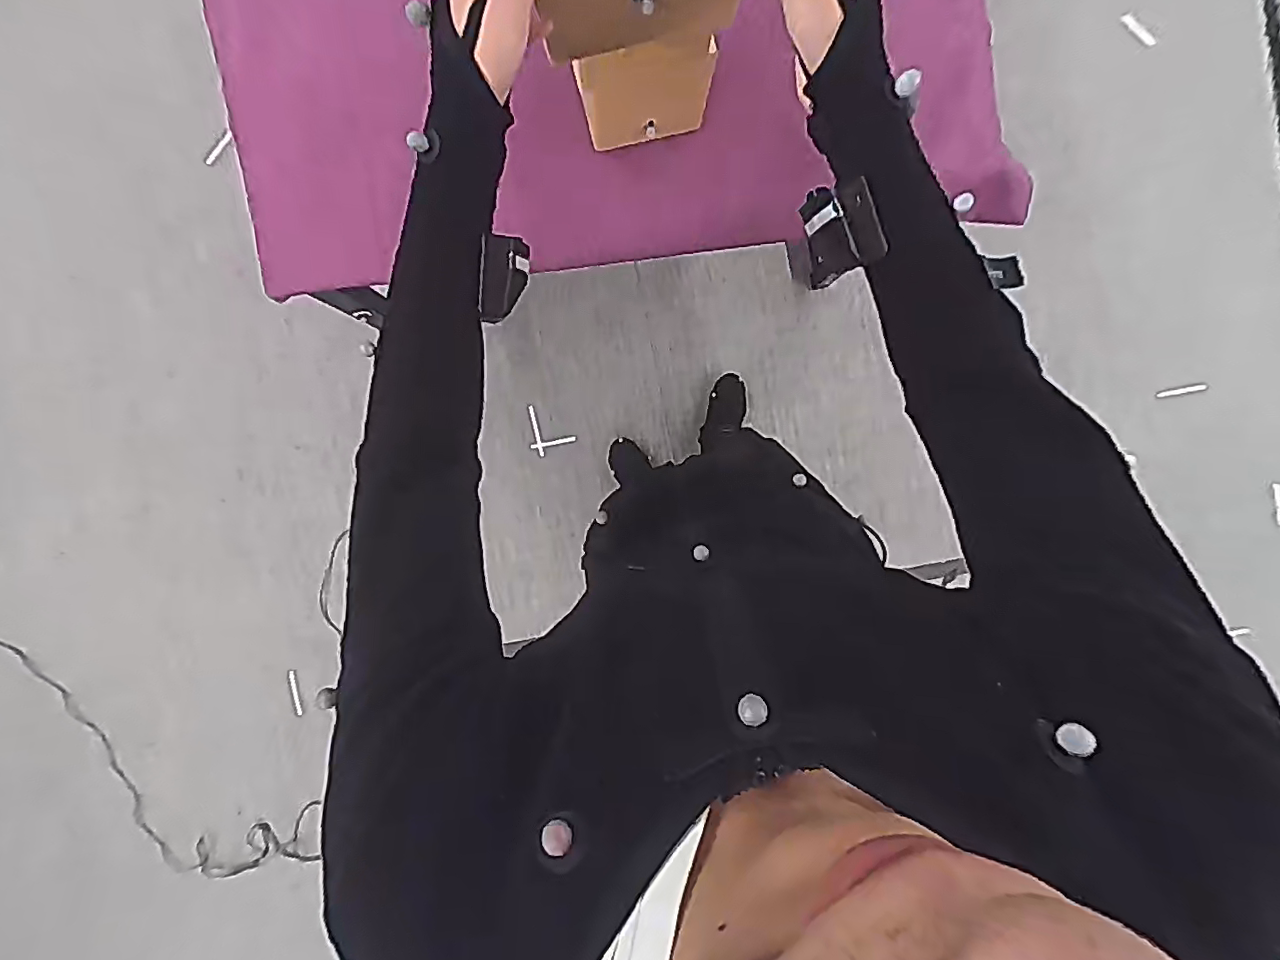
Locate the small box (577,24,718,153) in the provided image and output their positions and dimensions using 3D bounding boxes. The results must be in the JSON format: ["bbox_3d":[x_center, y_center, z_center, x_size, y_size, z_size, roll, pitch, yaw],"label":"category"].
[{"bbox_3d":[-0.002,-0.617,0.787,0.179,0.176,0.168,-14,92,-2],"label":"small box"}]

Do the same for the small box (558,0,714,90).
[{"bbox_3d":[-0.012,-0.596,0.624,0.179,0.176,0.168,-14,93,-2],"label":"small box"}]
